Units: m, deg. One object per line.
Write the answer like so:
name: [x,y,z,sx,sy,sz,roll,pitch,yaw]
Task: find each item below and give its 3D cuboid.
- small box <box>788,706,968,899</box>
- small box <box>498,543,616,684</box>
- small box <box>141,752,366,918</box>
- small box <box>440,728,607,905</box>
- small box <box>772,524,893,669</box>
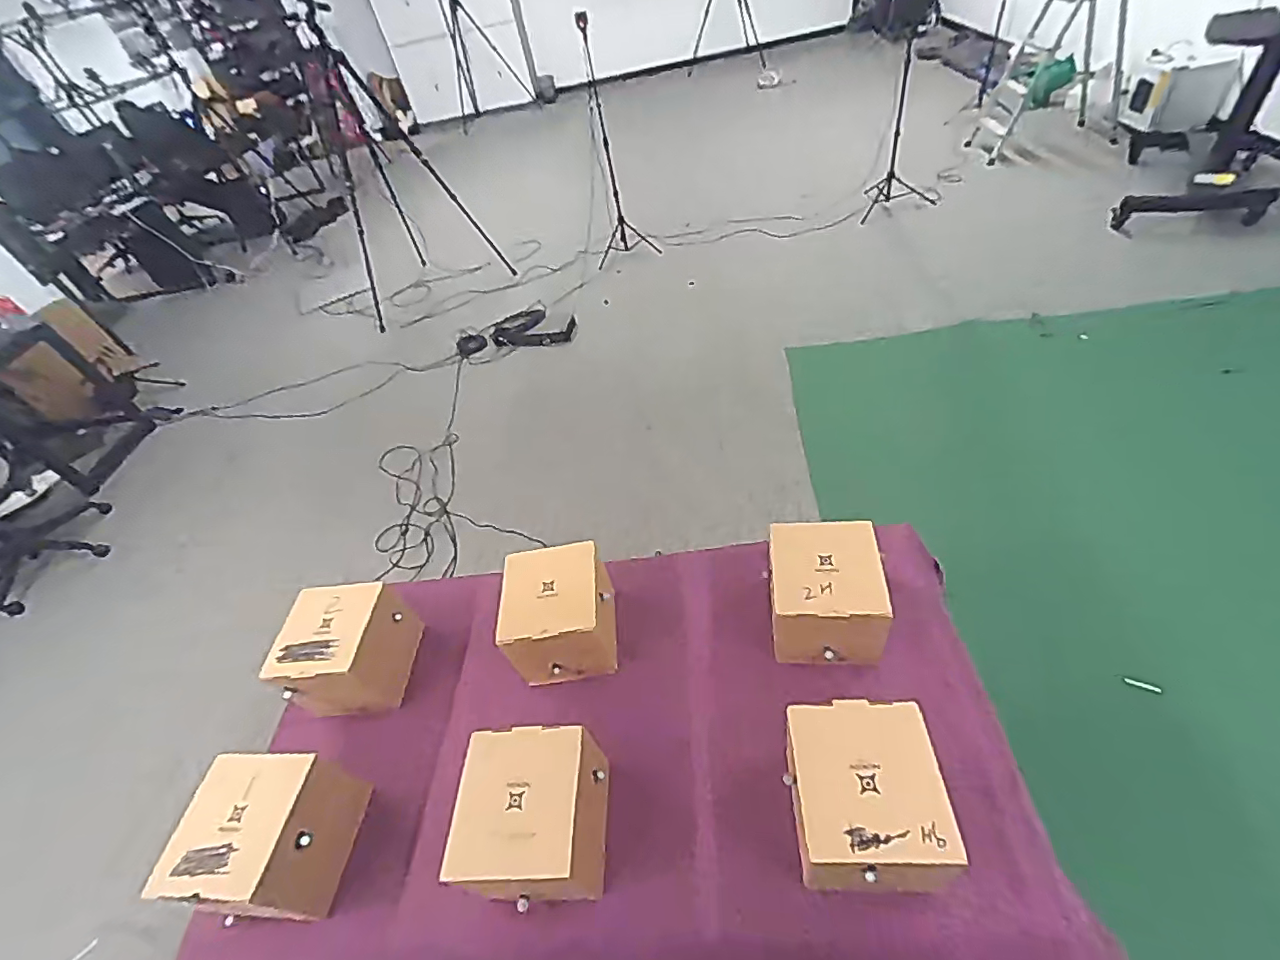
small box: [0.286,0.413,0.697,0.168,0.176,0.179,-6,44,10]
small box: [-0.139,0.240,0.967,0.168,0.176,0.179,-9,47,4]
small box: [-0.539,0.519,0.789,0.168,0.176,0.179,-4,45,9]
small box: [-0.144,0.466,0.751,0.168,0.176,0.179,-6,45,8]
small box: [0.307,0.193,0.902,0.168,0.176,0.179,-3,47,12]
